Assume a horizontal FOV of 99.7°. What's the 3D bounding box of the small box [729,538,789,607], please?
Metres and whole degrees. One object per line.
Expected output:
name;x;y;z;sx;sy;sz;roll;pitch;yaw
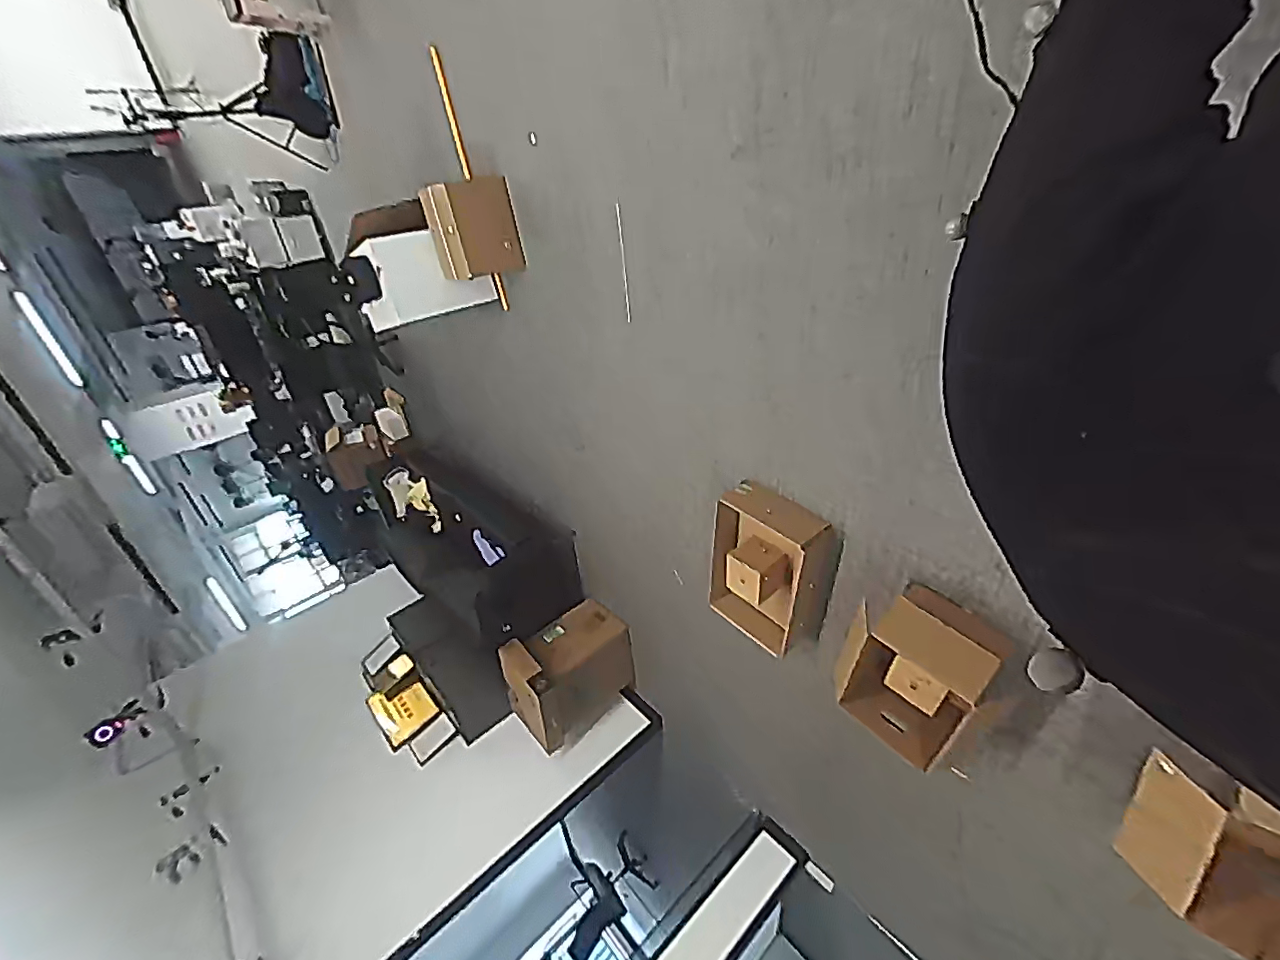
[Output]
small box;0.472;0.361;2.141;0.168;0.176;0.179;29;135;42
